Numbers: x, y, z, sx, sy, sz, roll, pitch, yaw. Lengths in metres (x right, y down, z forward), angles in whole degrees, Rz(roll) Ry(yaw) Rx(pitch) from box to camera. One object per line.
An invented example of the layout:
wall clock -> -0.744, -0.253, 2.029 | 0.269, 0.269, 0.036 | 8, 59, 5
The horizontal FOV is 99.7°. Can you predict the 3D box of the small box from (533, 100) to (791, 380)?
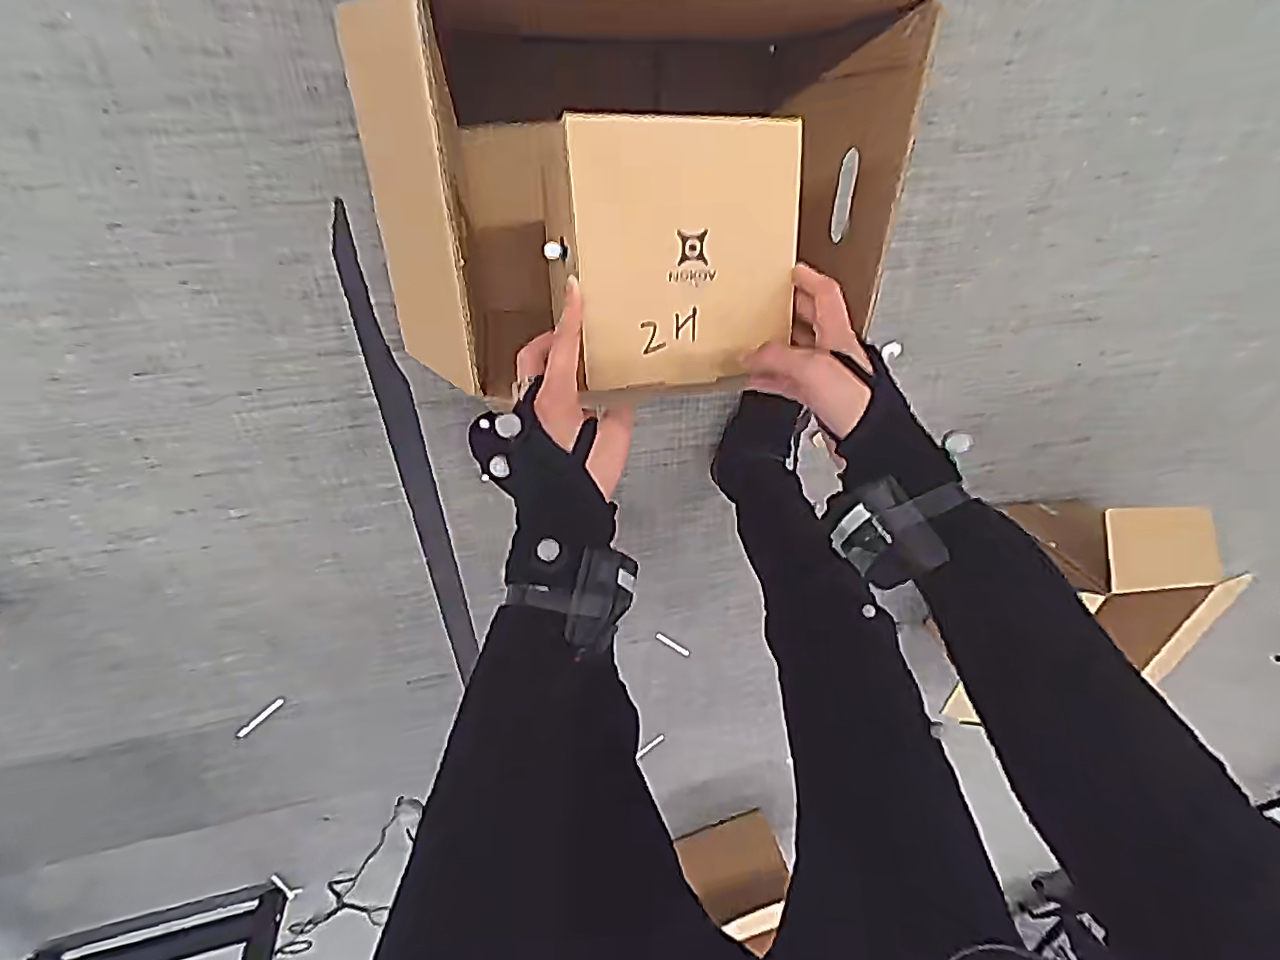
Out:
small box -> 0.007, -0.191, 0.453 | 0.168, 0.176, 0.179 | -8, 113, -13
